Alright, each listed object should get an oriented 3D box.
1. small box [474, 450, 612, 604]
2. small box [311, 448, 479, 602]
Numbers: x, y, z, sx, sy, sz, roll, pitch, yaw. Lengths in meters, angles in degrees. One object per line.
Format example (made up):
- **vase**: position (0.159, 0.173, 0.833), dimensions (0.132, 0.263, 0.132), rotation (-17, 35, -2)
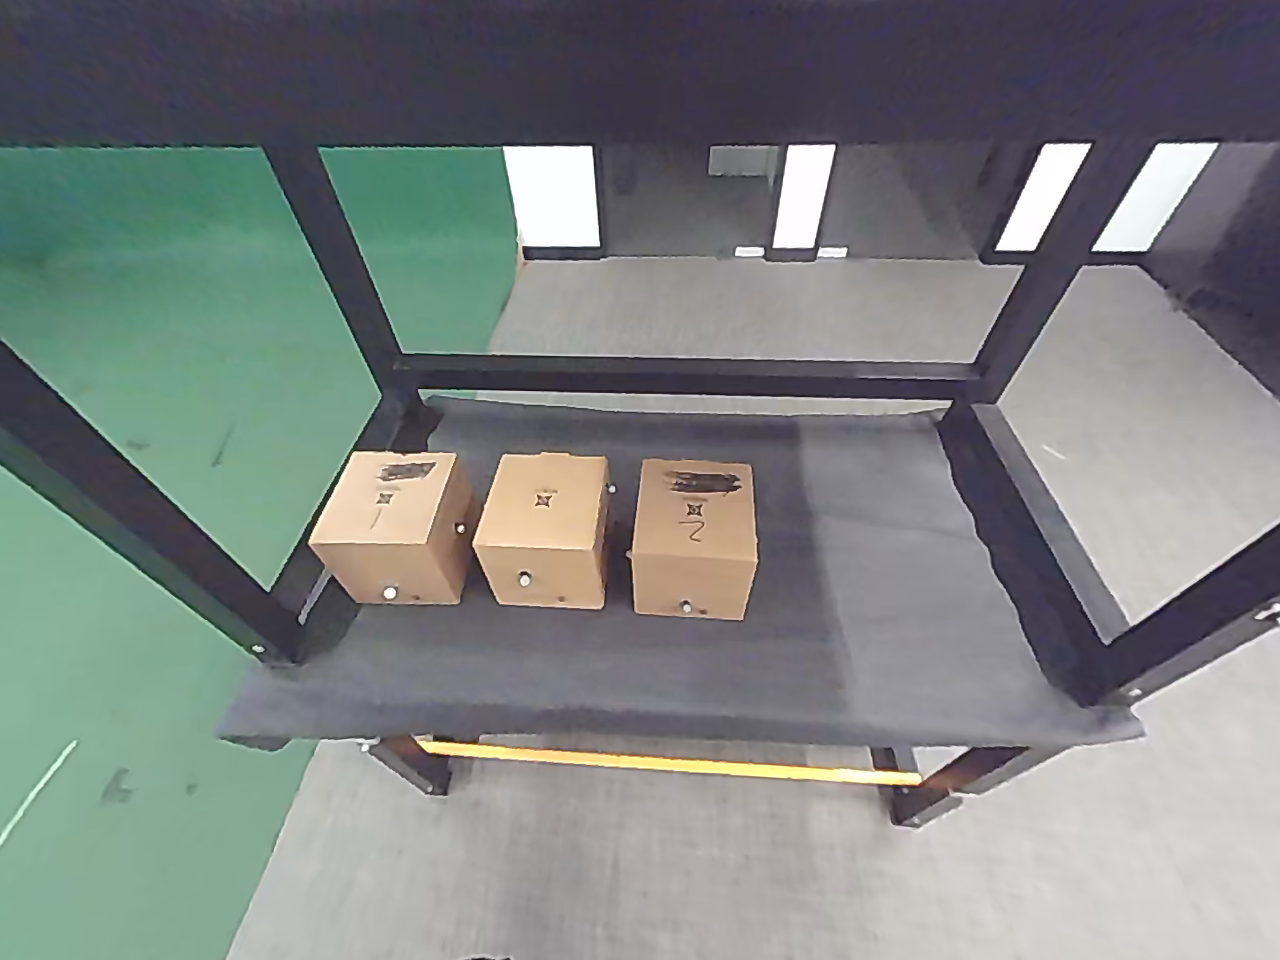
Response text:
- **small box**: position (-0.135, 0.075, 0.836), dimensions (0.168, 0.176, 0.179), rotation (3, 47, 3)
- **small box**: position (-0.362, 0.070, 0.844), dimensions (0.168, 0.176, 0.179), rotation (0, 48, 2)
